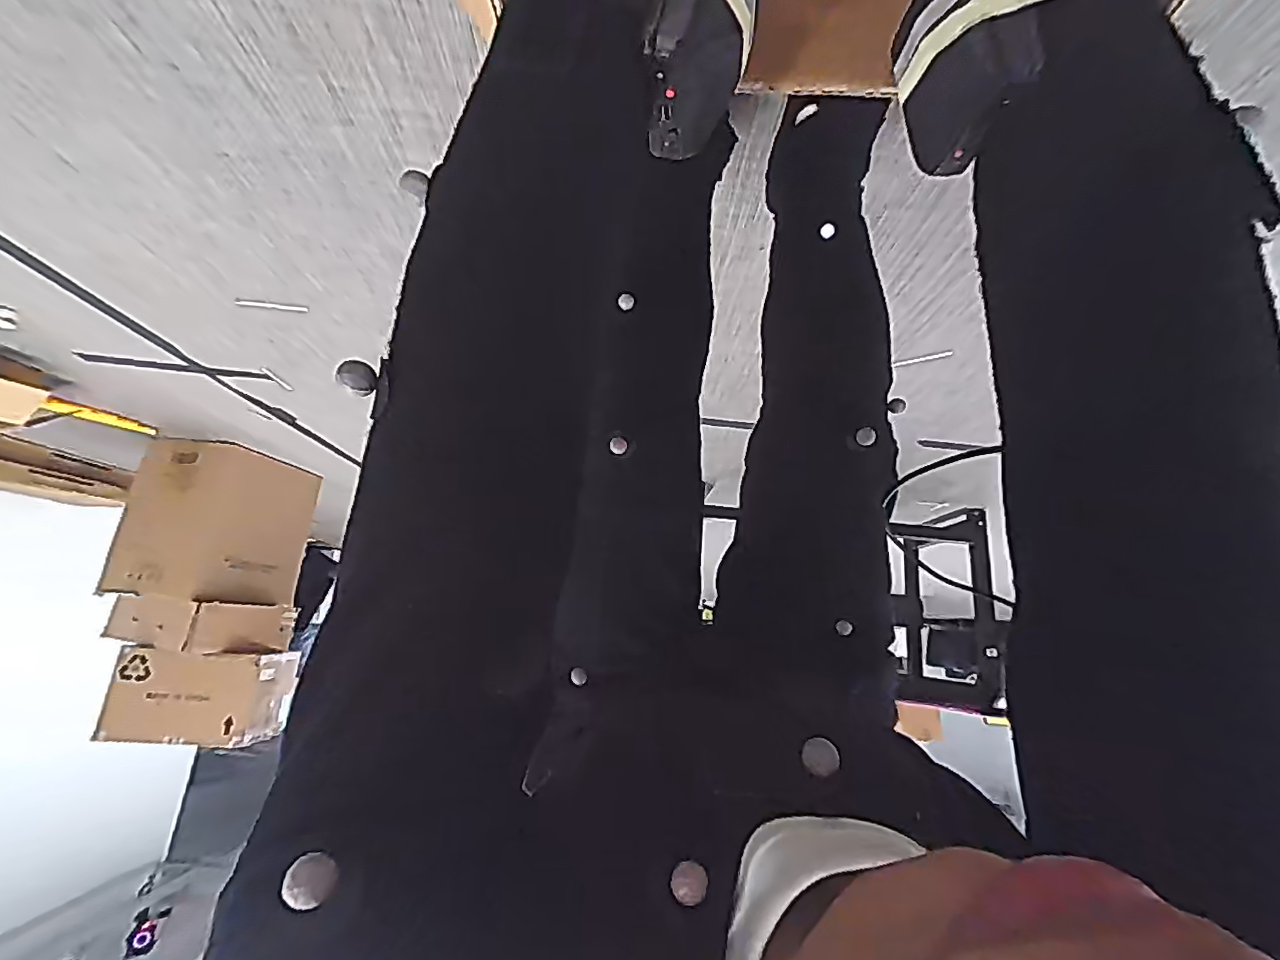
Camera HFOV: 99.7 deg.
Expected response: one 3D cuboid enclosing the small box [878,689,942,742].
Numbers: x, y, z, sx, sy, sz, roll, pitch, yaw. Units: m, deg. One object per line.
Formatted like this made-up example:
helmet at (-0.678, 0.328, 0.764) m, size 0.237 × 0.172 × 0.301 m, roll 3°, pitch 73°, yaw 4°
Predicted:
small box at (1.074, 0.939, 2.167) m, size 0.168 × 0.176 × 0.179 m, roll 8°, pitch 164°, yaw -7°
